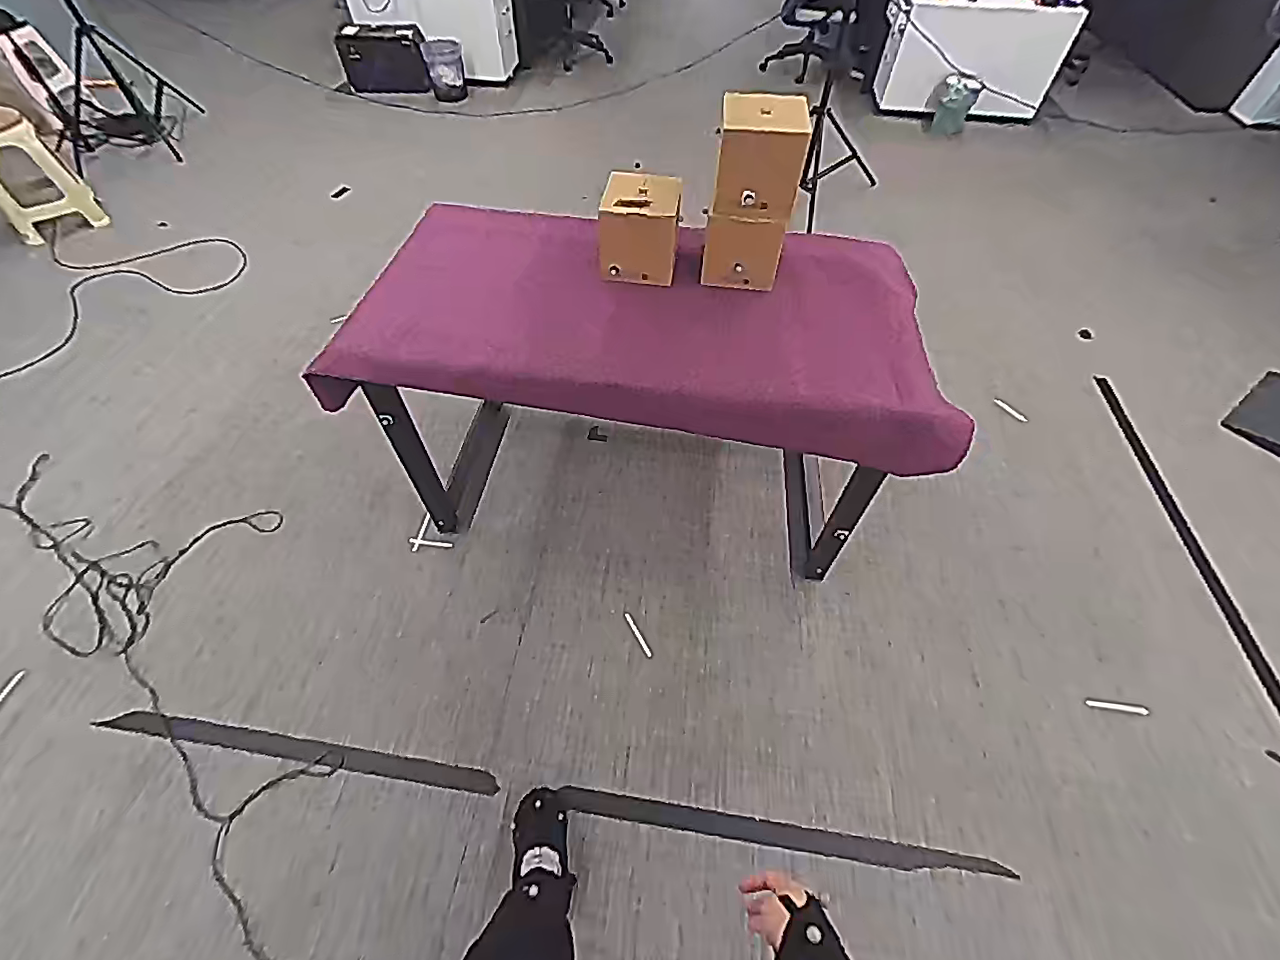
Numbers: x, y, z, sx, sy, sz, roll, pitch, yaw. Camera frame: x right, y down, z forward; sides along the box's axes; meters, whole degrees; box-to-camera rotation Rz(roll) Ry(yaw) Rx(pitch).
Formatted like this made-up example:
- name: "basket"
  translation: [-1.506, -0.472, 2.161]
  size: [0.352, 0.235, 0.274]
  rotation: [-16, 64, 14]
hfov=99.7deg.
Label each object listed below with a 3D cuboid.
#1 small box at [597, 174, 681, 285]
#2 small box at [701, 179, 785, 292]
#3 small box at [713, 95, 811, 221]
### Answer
- name: "small box"
  translation: [0.001, -0.572, 1.243]
  size: [0.168, 0.176, 0.179]
  rotation: [7, 54, 3]
- name: "small box"
  translation: [0.233, -0.560, 1.240]
  size: [0.168, 0.176, 0.179]
  rotation: [6, 55, 5]
- name: "small box"
  translation: [0.241, -0.660, 1.112]
  size: [0.168, 0.176, 0.179]
  rotation: [4, 55, 3]
